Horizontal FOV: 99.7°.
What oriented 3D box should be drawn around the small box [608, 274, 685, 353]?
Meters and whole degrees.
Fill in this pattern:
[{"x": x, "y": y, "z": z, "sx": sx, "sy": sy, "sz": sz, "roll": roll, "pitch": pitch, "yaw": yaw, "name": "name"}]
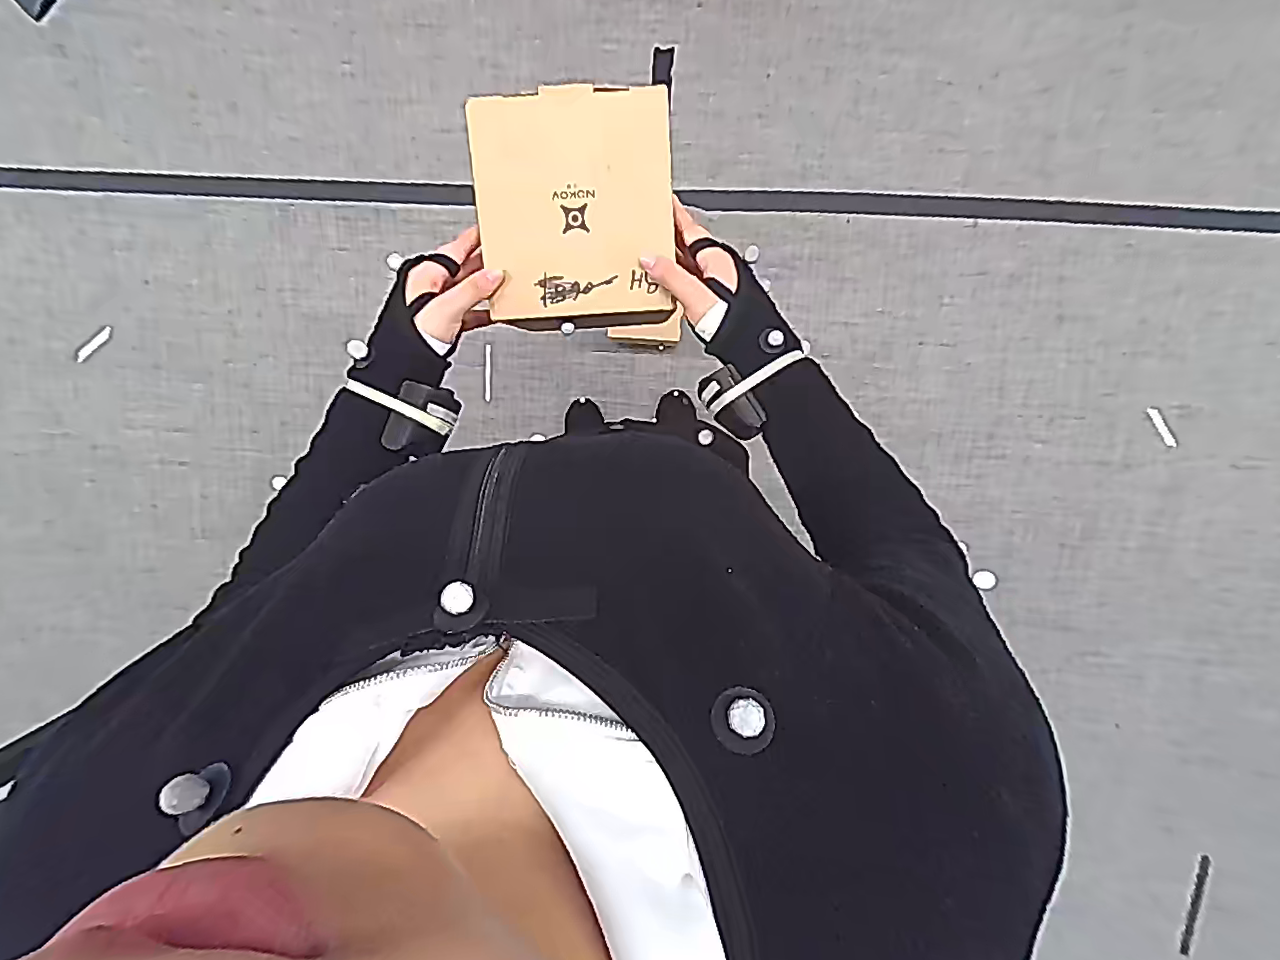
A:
[{"x": 0.017, "y": -0.409, "z": 1.350, "sx": 0.179, "sy": 0.176, "sz": 0.168, "roll": 3, "pitch": 98, "yaw": 2, "name": "small box"}]
